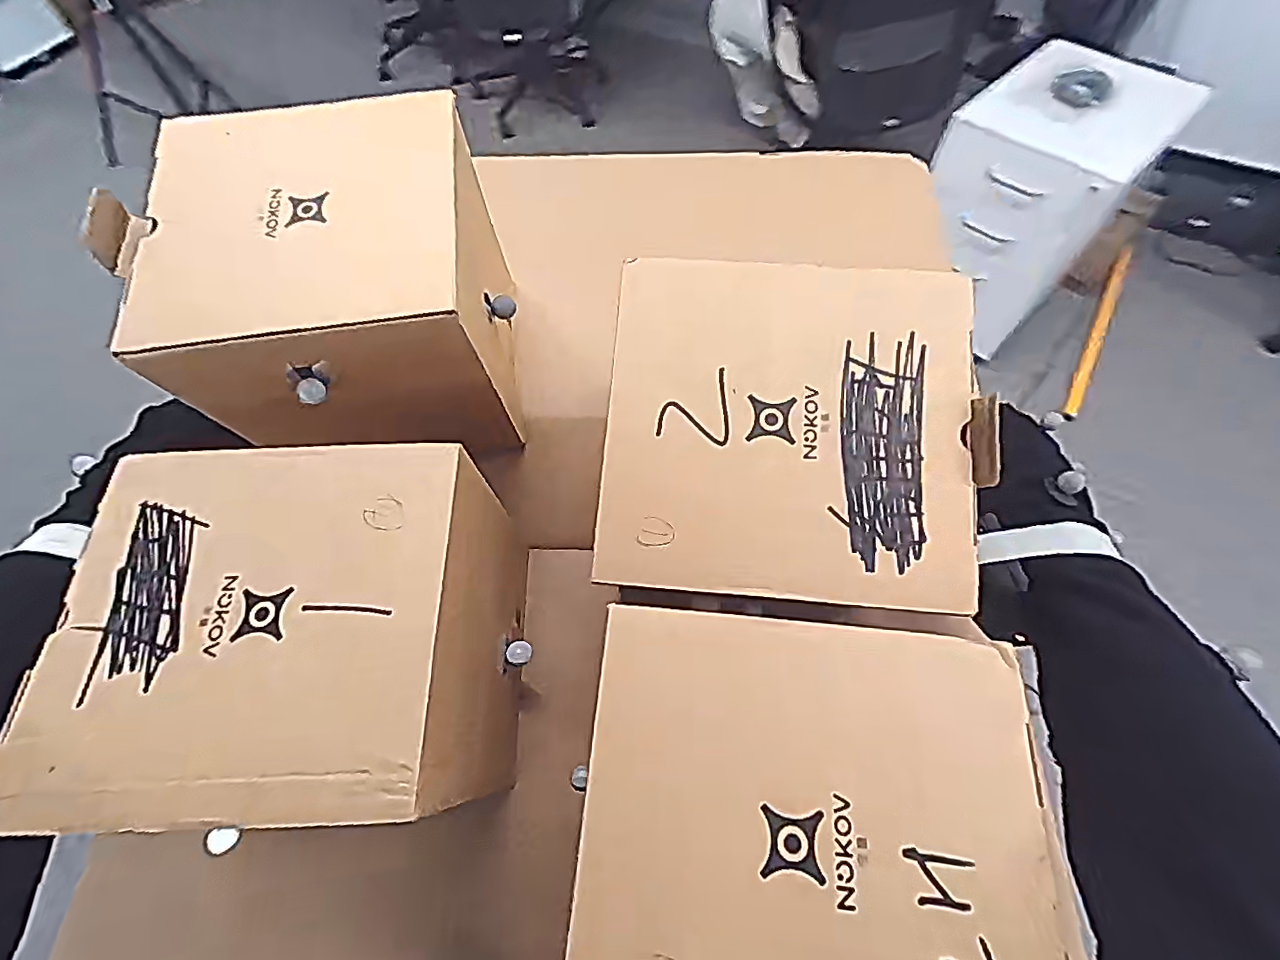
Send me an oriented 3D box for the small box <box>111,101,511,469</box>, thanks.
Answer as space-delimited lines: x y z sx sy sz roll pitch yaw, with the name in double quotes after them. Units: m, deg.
-0.195 -0.120 0.381 0.179 0.176 0.168 -9 70 -1 "small box"
